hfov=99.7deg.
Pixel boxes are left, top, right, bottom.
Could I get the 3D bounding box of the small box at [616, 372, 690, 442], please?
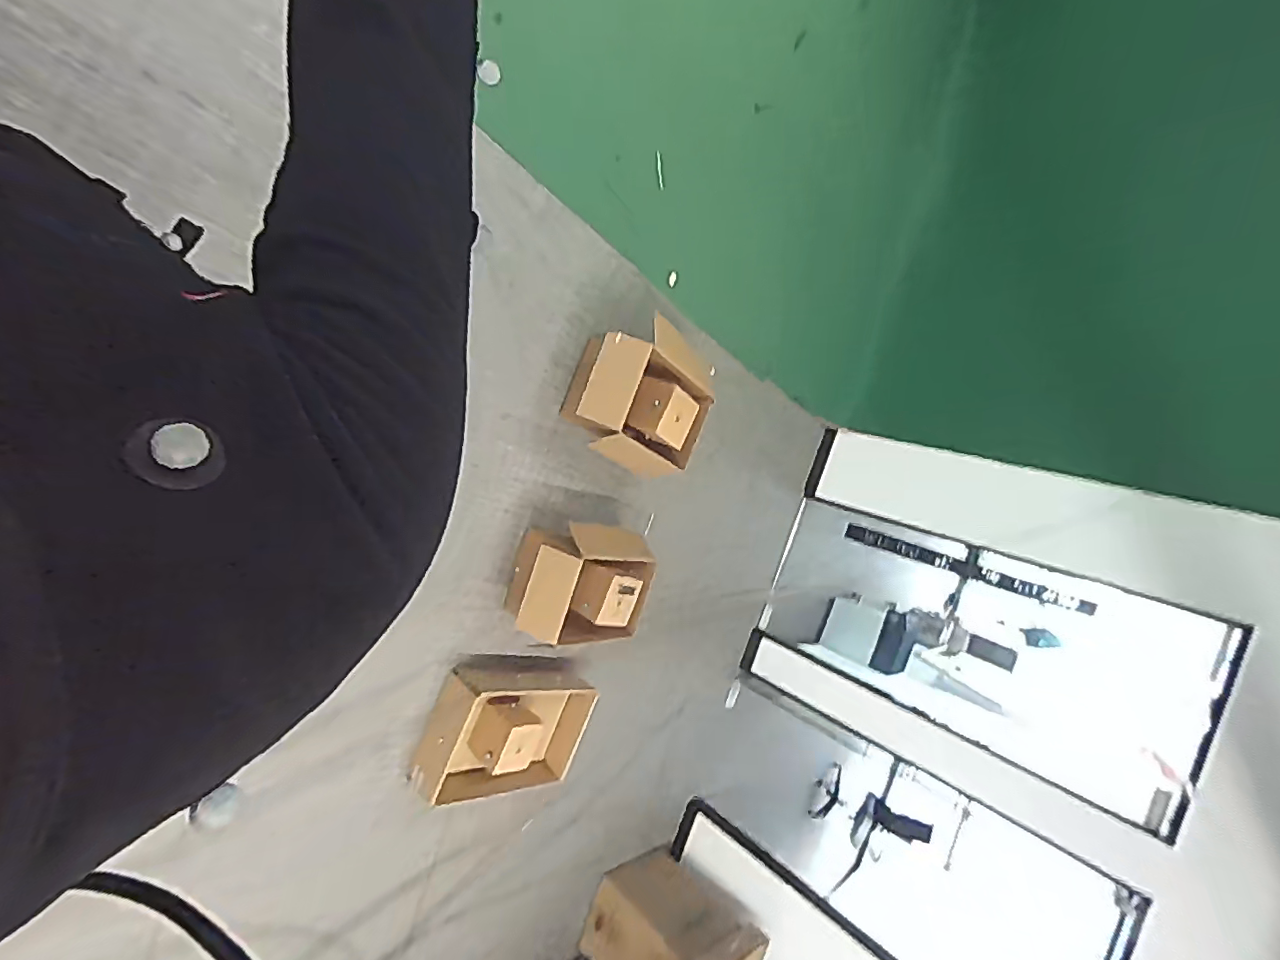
[{"bbox_3d":[0.039,-0.256,1.891,0.168,0.176,0.179,28,84,-51],"label":"small box"}]
